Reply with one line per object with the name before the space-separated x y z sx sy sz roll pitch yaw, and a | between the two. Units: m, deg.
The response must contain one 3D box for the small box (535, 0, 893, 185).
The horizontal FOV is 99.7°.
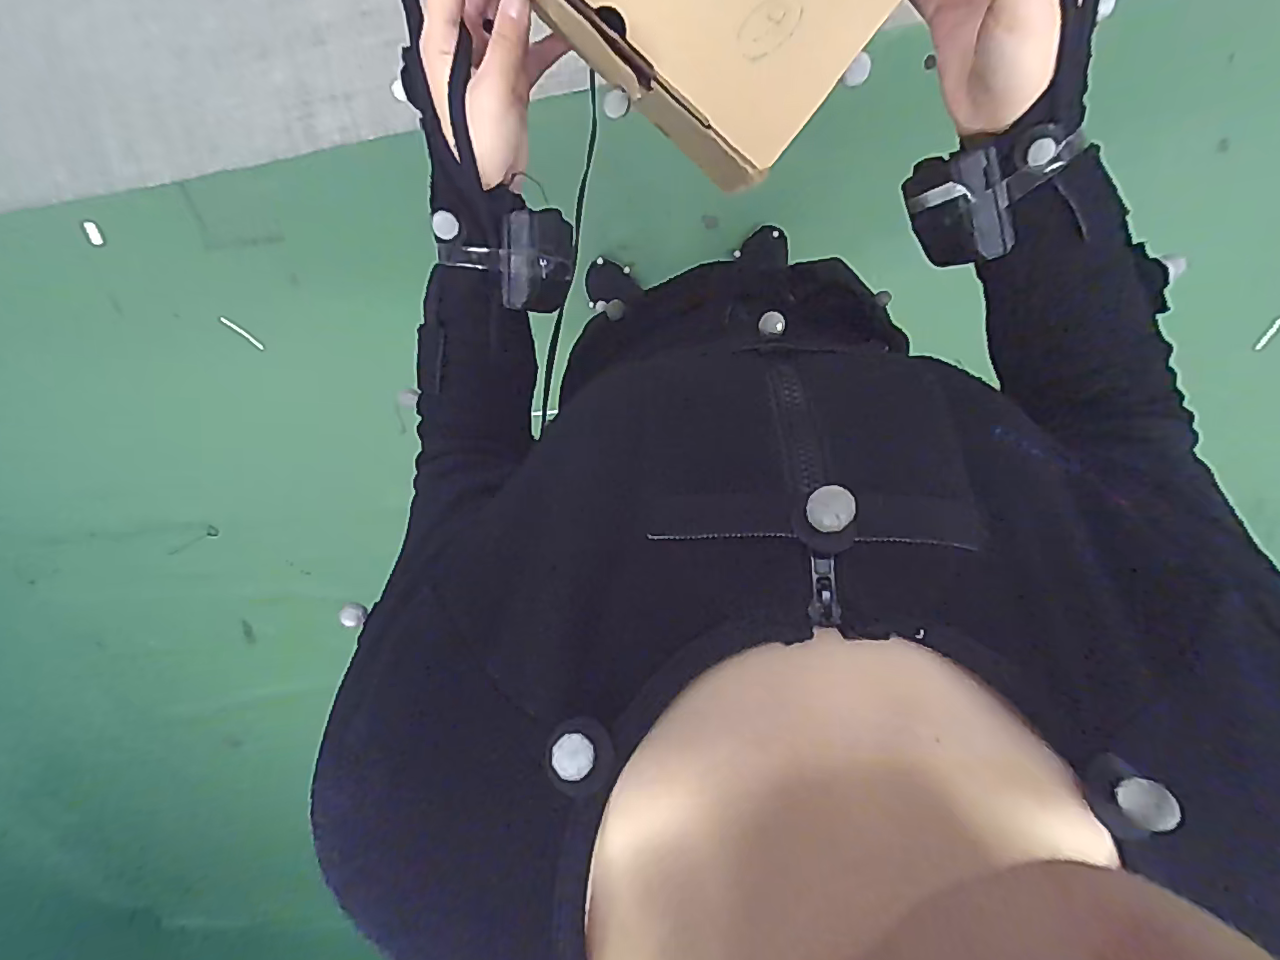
small box | 0.047 -0.272 0.262 0.168 0.176 0.179 37 113 -12
